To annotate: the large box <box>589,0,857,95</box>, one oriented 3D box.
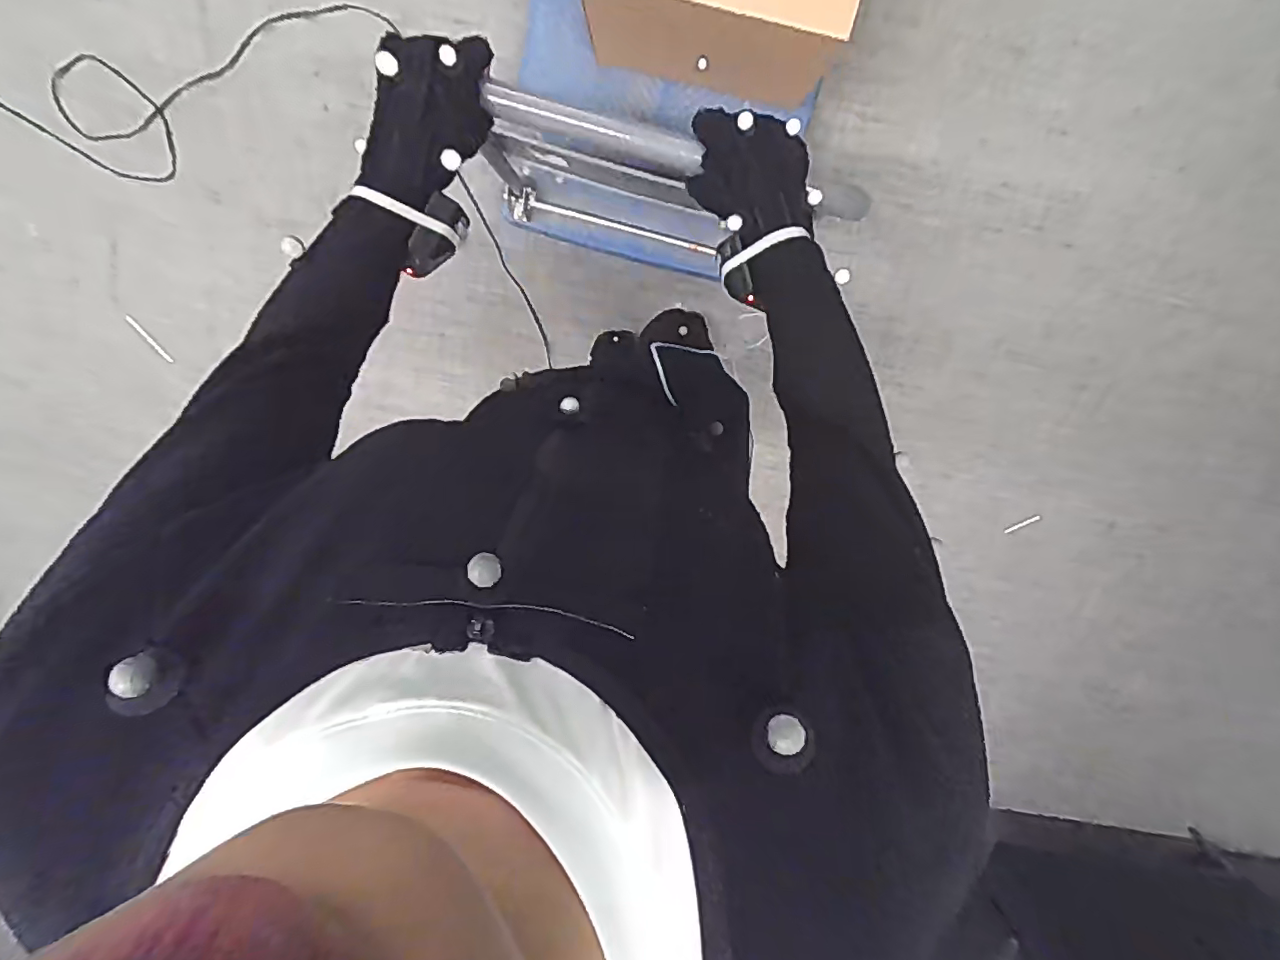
[{"bbox_3d":[0.145,-0.881,0.875,0.408,0.320,0.320,11,109,-2],"label":"large box"}]
